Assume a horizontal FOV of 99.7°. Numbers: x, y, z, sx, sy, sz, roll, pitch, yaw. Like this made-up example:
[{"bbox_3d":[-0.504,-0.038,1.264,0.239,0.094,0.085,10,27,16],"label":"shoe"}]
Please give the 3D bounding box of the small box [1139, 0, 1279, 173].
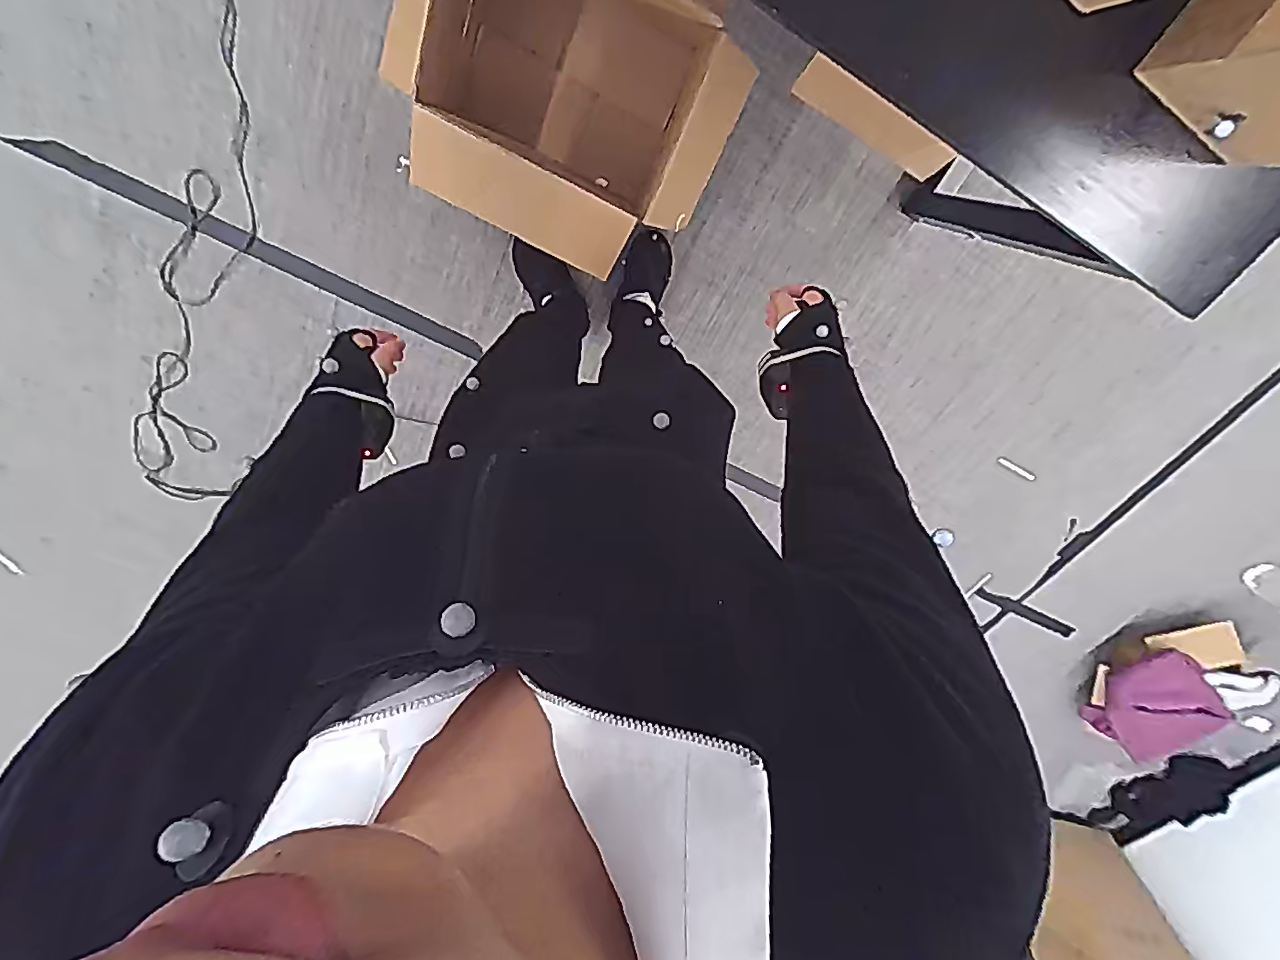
[{"bbox_3d":[0.589,-0.380,0.442,0.168,0.176,0.179,25,117,-16],"label":"small box"}]
